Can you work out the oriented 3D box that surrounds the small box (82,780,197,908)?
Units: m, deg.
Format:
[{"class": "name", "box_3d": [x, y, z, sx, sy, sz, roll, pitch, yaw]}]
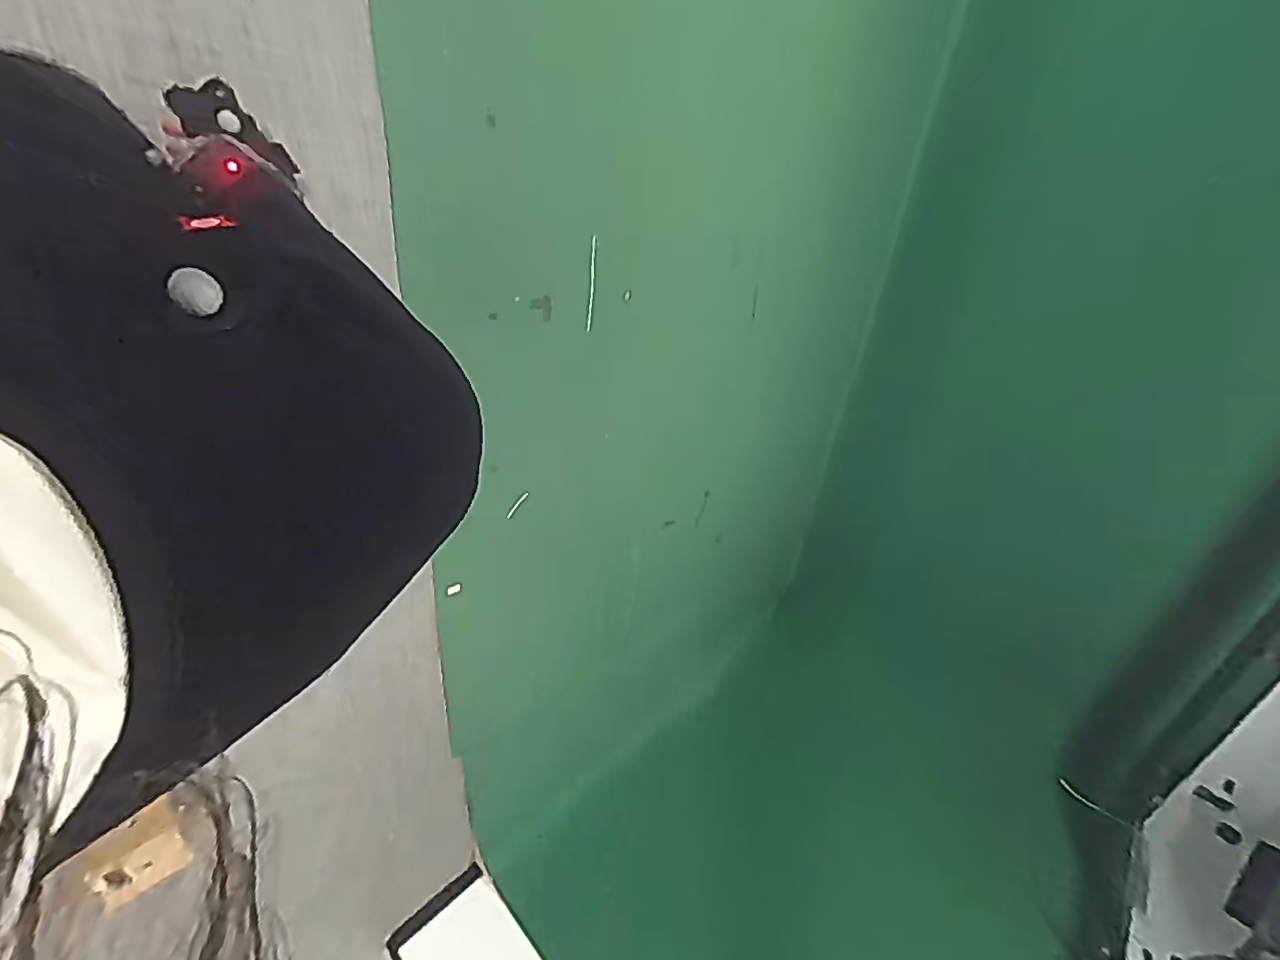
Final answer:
[{"class": "small box", "box_3d": [-1.299, 0.935, 1.401, 0.179, 0.176, 0.168, -25, 131, -43]}]
